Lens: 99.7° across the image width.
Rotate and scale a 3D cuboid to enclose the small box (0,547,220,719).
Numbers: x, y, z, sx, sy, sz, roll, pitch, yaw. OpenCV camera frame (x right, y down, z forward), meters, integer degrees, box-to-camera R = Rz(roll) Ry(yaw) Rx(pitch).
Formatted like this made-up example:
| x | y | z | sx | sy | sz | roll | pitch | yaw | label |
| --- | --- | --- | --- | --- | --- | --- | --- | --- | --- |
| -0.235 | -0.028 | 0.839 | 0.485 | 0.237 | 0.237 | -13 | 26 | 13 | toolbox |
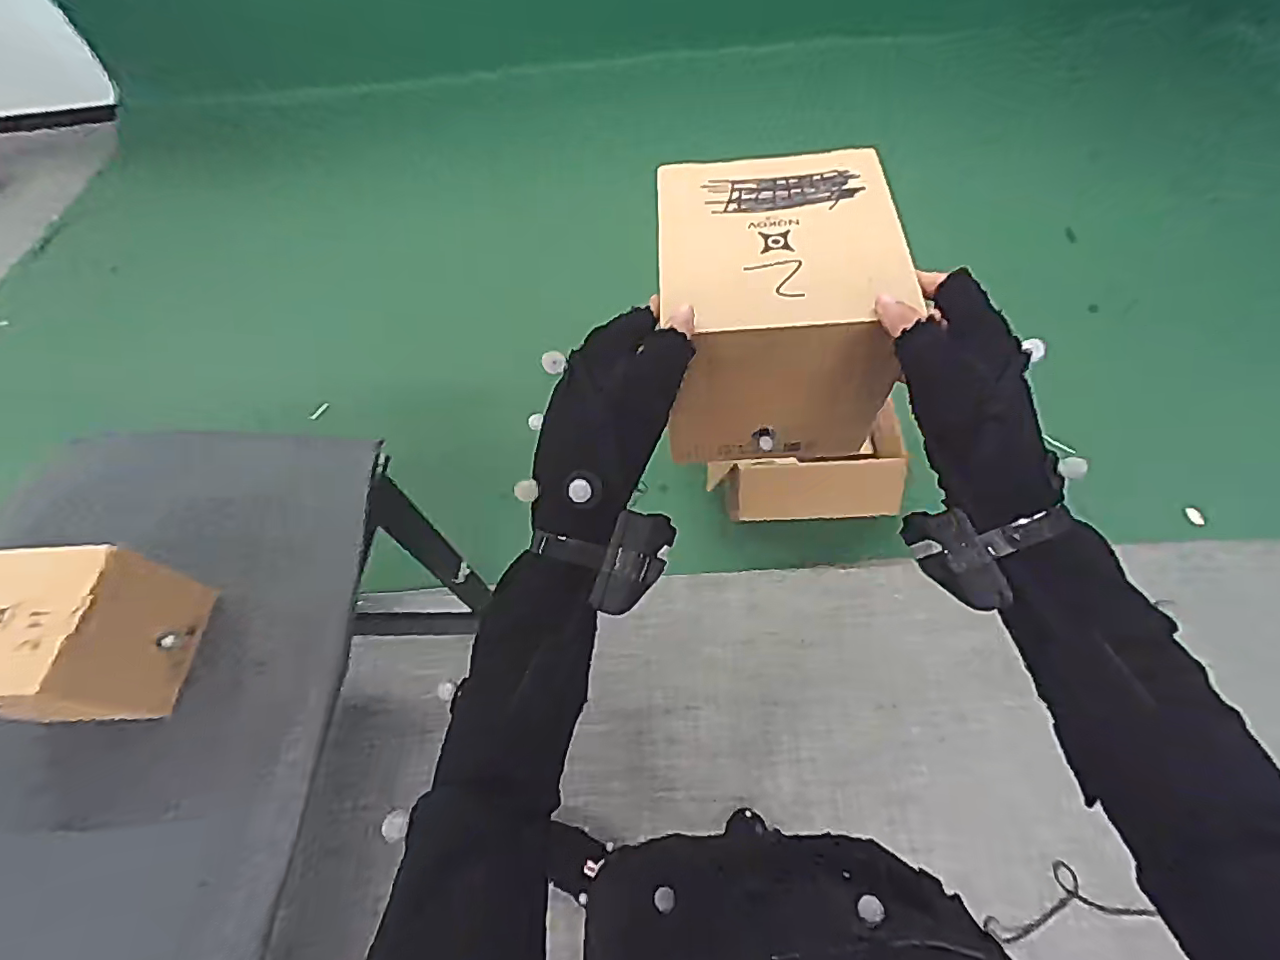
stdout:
| x | y | z | sx | sy | sz | roll | pitch | yaw | label |
| --- | --- | --- | --- | --- | --- | --- | --- | --- | --- |
| -0.684 | 0.193 | 0.663 | 0.179 | 0.176 | 0.168 | -3 | 59 | 3 | small box |
